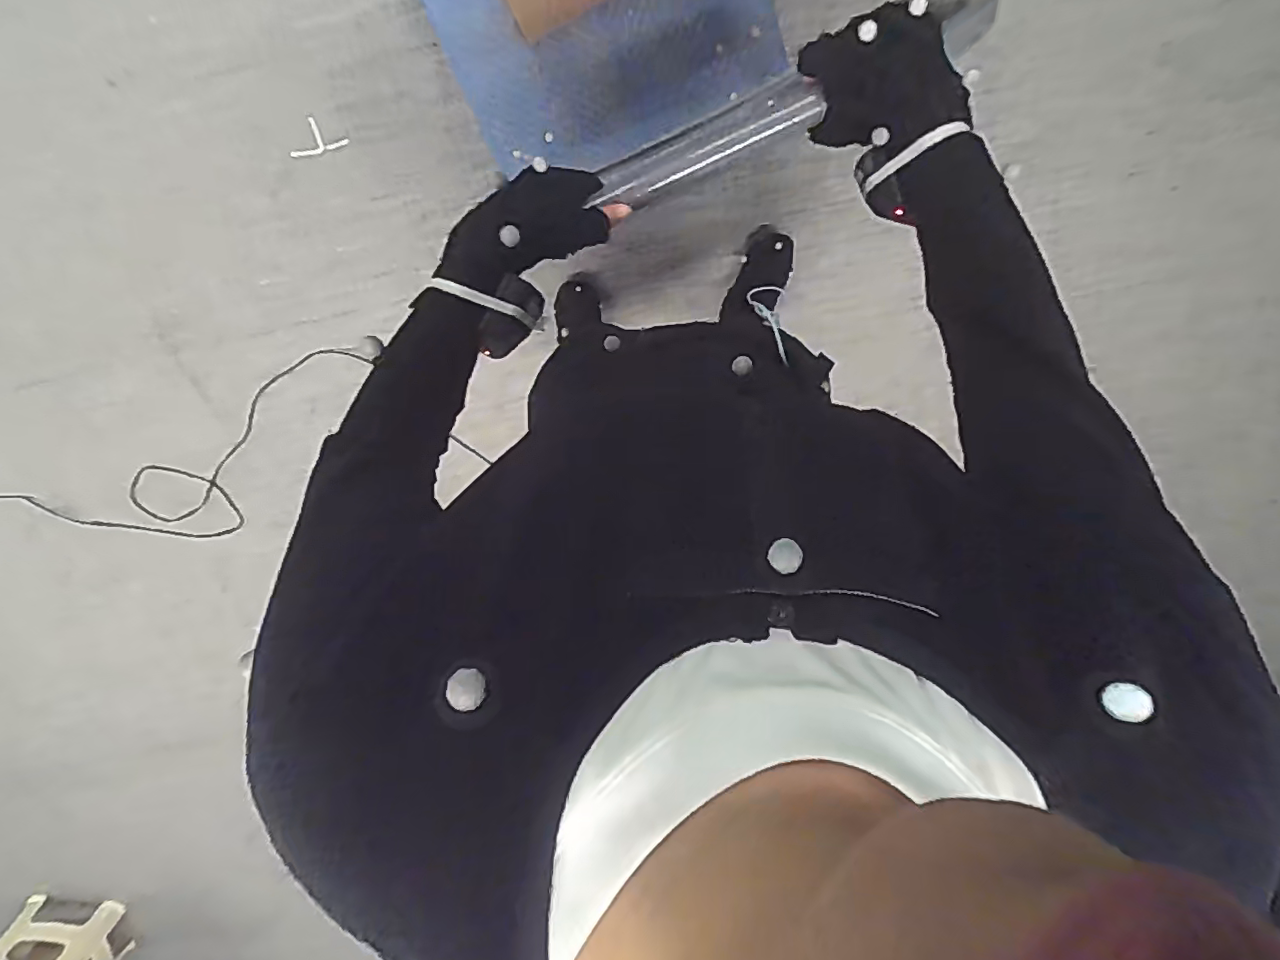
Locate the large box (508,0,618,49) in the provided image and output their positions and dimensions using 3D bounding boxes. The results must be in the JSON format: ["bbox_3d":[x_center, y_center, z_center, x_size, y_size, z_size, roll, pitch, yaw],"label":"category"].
[{"bbox_3d":[-0.078,-0.935,0.780,0.408,0.320,0.320,-25,113,10],"label":"large box"}]
